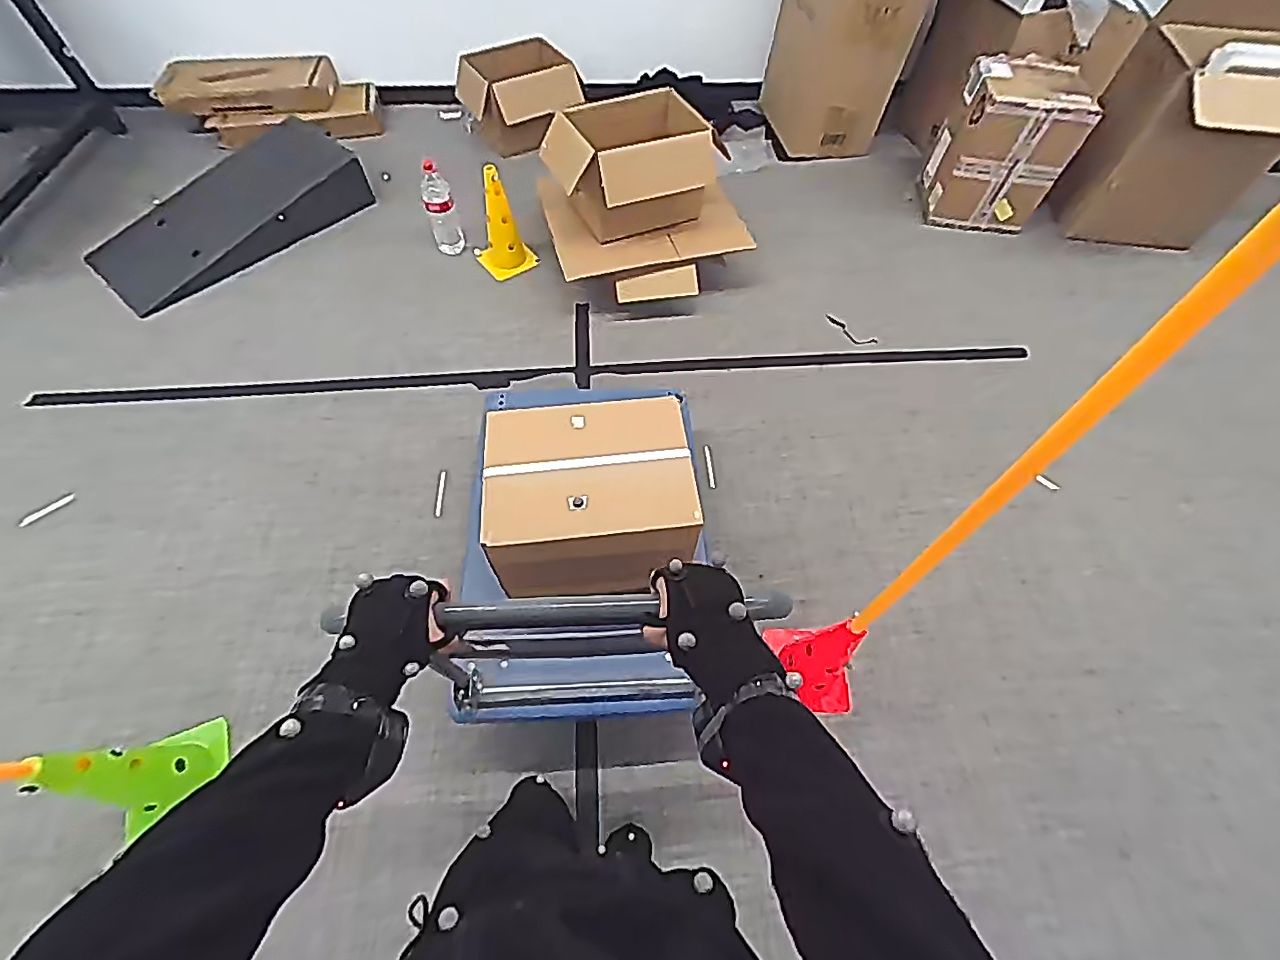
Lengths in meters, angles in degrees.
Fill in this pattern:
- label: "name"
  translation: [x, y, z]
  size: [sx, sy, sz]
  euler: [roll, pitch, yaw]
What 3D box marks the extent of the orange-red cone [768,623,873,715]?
- label: "orange-red cone"
  translation: [0.424, 0.379, 1.182]
  size: [0.199, 0.360, 0.198]
  euler: [3, 59, -1]
